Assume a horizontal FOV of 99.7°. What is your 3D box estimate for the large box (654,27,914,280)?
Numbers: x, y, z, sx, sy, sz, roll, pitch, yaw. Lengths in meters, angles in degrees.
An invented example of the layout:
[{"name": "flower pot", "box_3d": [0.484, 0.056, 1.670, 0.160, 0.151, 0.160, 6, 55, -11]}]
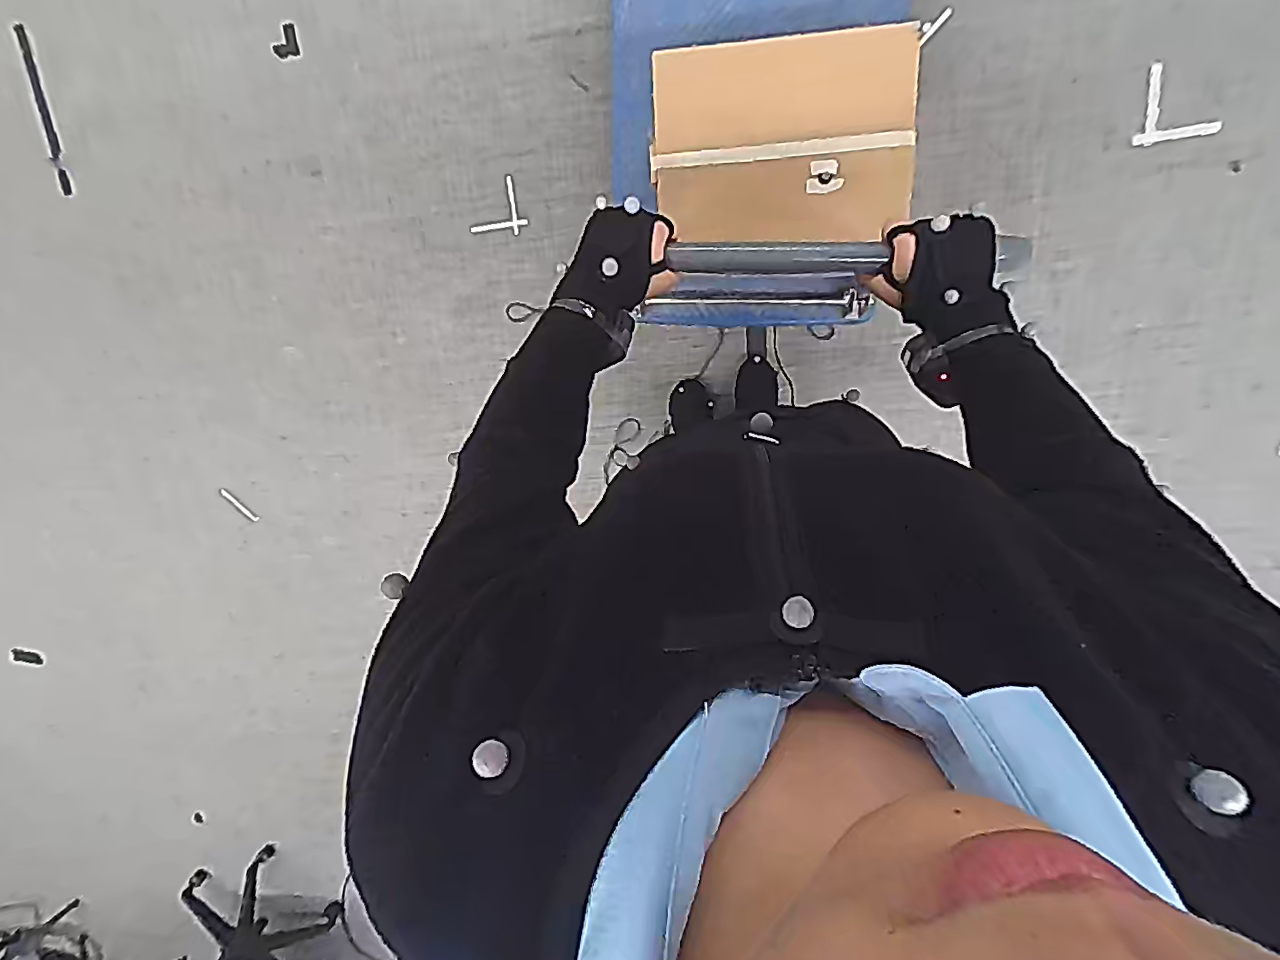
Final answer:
[{"name": "large box", "box_3d": [0.242, -0.569, 1.020, 0.408, 0.320, 0.320, -2, 106, 6]}]
